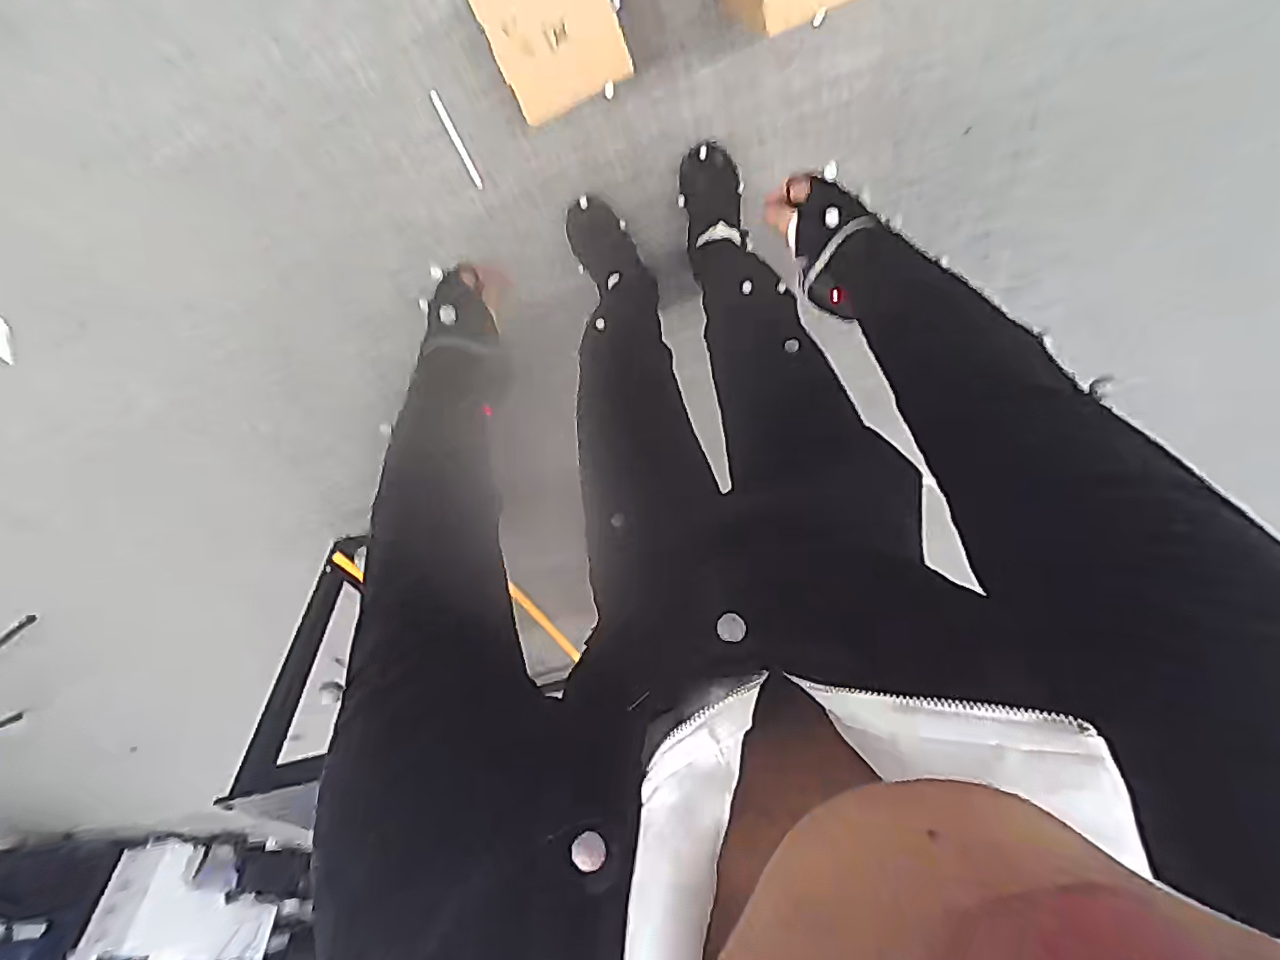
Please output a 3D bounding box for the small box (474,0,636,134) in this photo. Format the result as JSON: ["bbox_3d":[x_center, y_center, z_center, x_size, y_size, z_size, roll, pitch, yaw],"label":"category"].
[{"bbox_3d":[-0.121,-0.661,0.807,0.179,0.176,0.168,-19,133,13],"label":"small box"}]
